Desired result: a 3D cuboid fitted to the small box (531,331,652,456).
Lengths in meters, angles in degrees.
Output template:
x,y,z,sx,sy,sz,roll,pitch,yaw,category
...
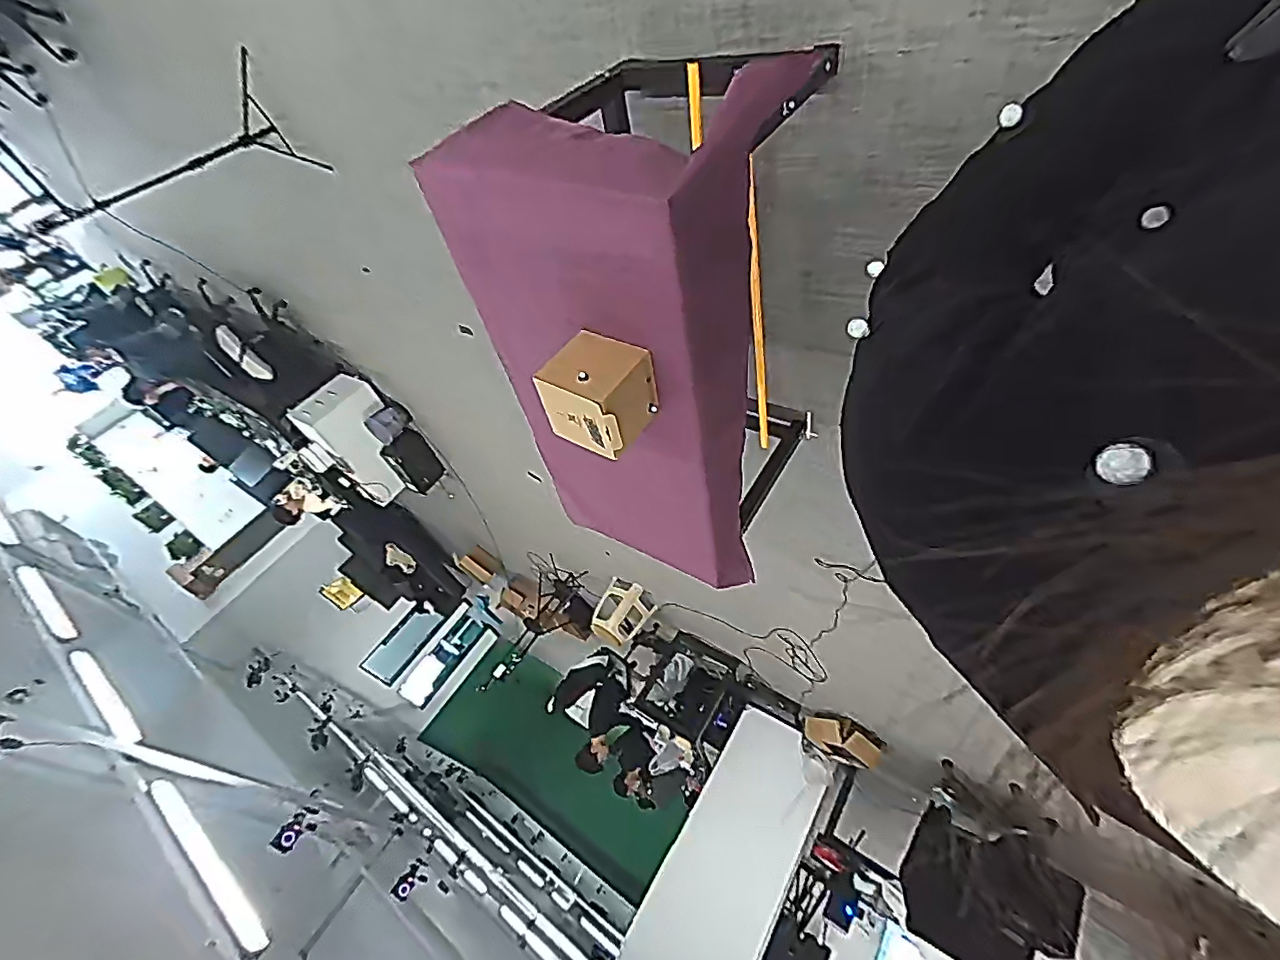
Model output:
x,y,z,sx,sy,sz,roll,pitch,yaw,category
-0.088,-0.184,1.121,0.179,0.176,0.168,24,150,26,small box
